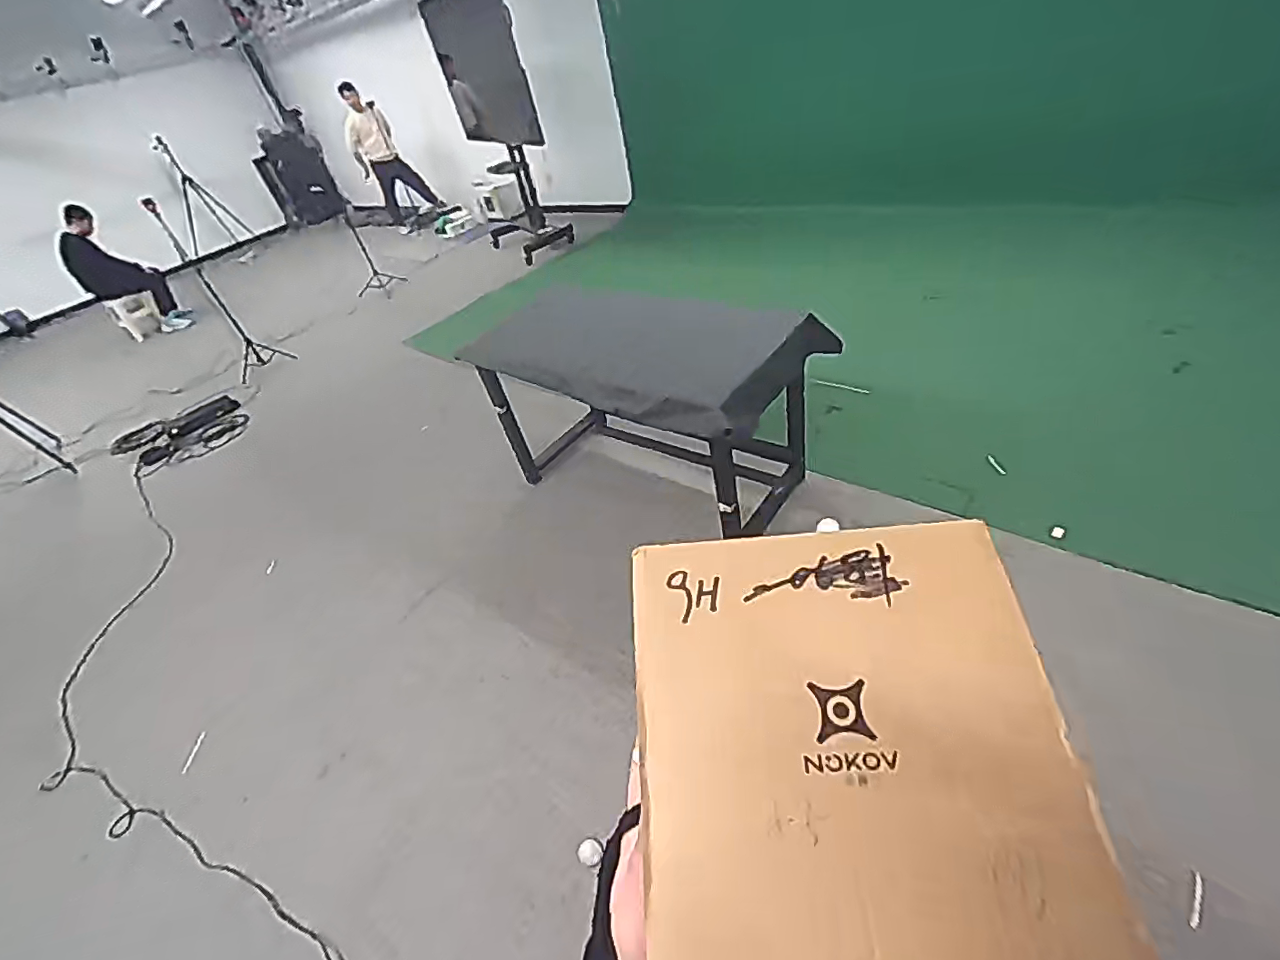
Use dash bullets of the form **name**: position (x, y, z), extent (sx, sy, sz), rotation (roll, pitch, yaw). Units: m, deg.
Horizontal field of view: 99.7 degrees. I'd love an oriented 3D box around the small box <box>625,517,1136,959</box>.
- **small box**: position (0.083, 0.135, 0.282), extent (0.168, 0.176, 0.179), rotation (-4, 62, 2)
